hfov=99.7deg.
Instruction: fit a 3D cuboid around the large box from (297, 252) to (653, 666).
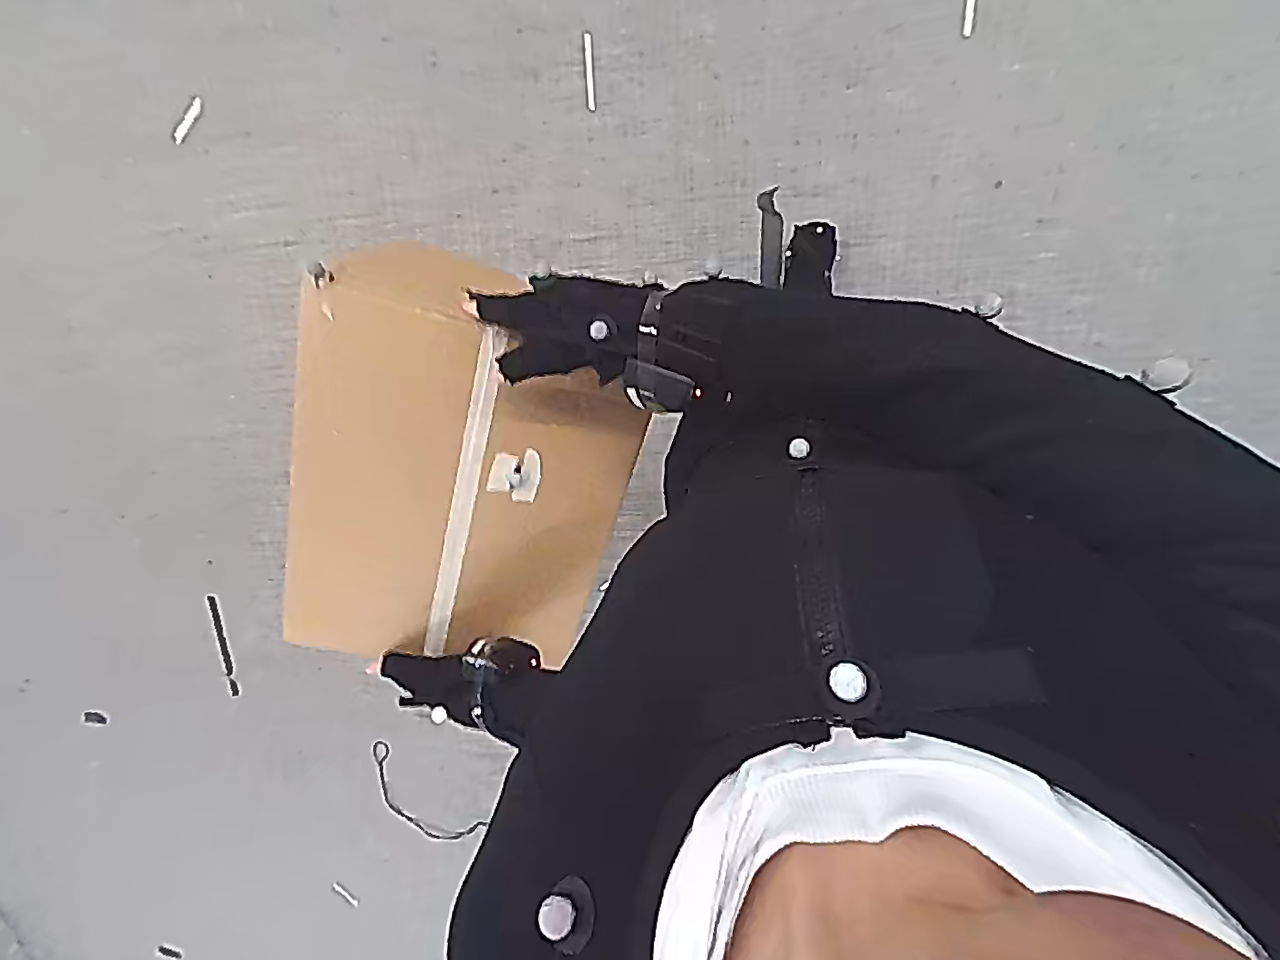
[{"bbox_3d":[-0.200,-0.036,0.693,0.320,0.320,0.408,12,113,-14],"label":"large box"}]
